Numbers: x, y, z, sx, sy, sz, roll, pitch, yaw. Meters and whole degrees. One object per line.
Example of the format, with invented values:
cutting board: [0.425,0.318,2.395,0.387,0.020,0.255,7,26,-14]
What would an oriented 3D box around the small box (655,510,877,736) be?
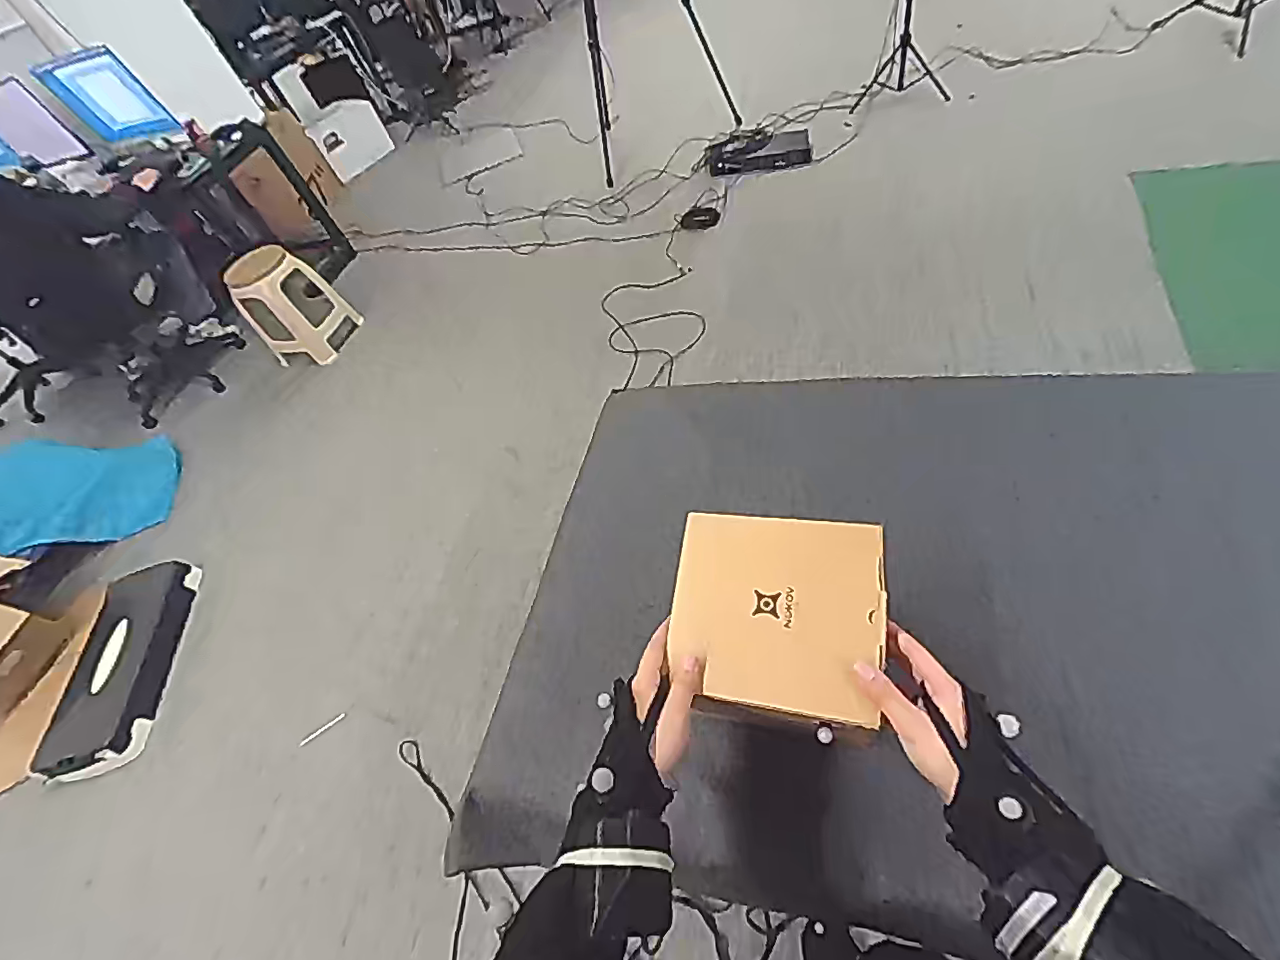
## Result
small box: [0.131,0.143,0.530,0.179,0.176,0.168,2,61,19]
